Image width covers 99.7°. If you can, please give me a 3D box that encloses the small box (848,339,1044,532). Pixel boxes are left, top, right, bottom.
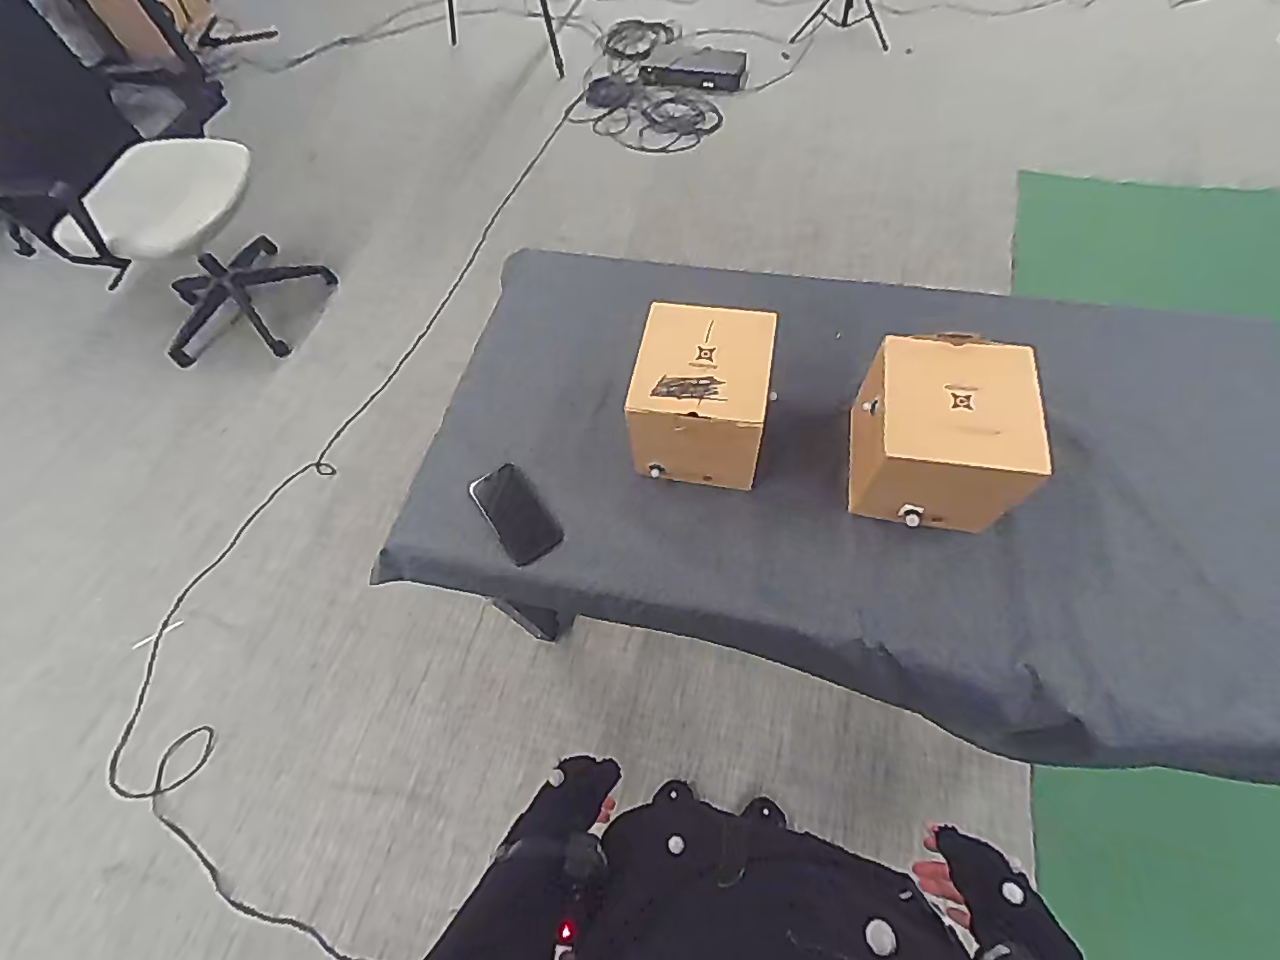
[{"bbox_3d":[0.369,-0.052,0.688,0.168,0.176,0.179,6,64,10],"label":"small box"}]

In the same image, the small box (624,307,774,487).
[{"bbox_3d":[0.083,-0.107,0.741,0.168,0.176,0.179,8,62,9],"label":"small box"}]
